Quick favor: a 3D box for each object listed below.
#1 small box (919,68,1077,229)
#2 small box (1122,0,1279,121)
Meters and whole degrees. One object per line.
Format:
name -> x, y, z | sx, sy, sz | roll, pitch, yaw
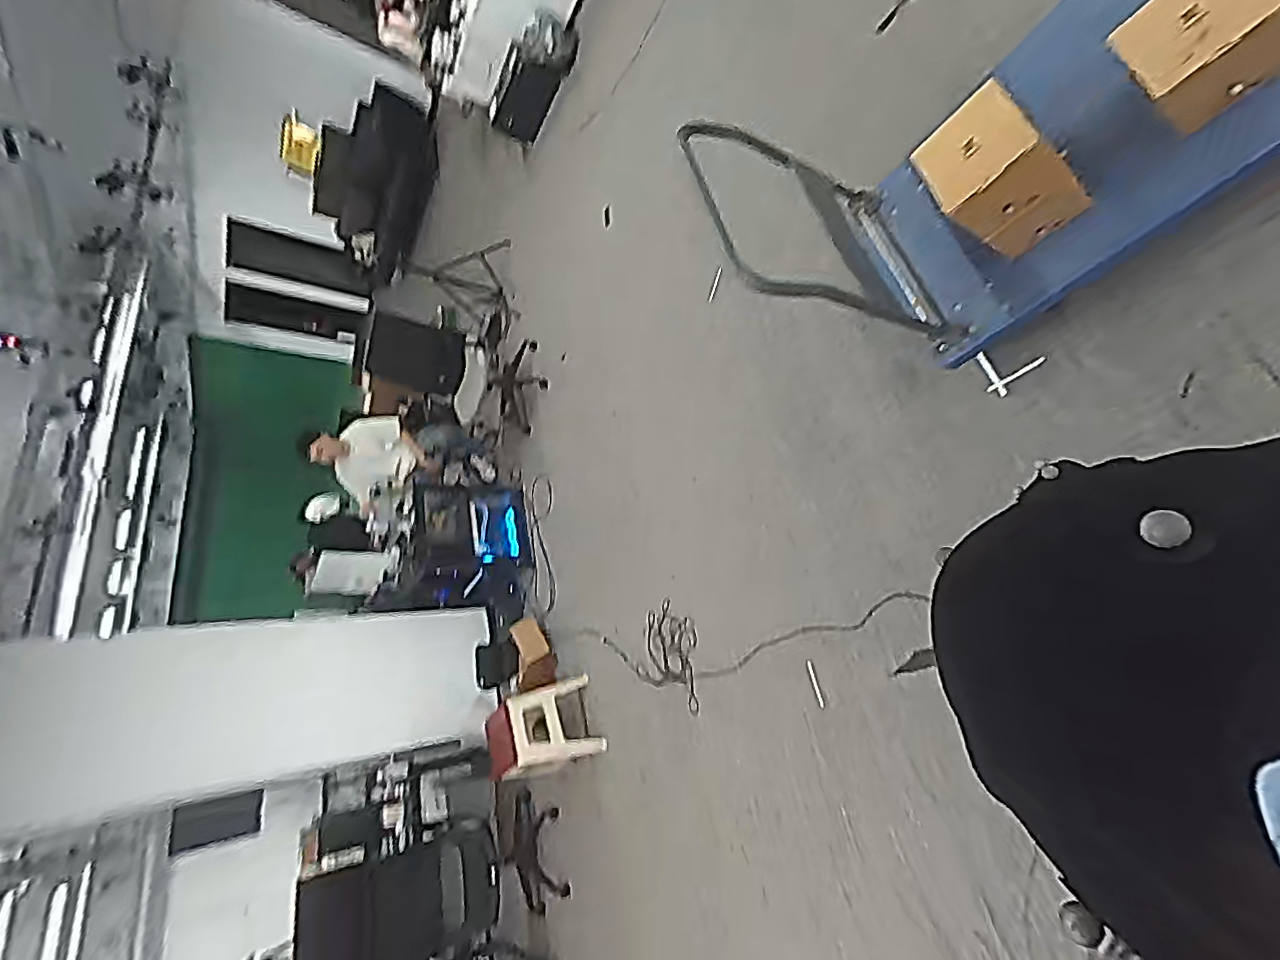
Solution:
small box -> 0.681, -0.618, 1.032 | 0.168, 0.176, 0.179 | -39, 57, 45
small box -> 0.976, -0.759, 0.914 | 0.168, 0.176, 0.179 | -37, 58, 47
